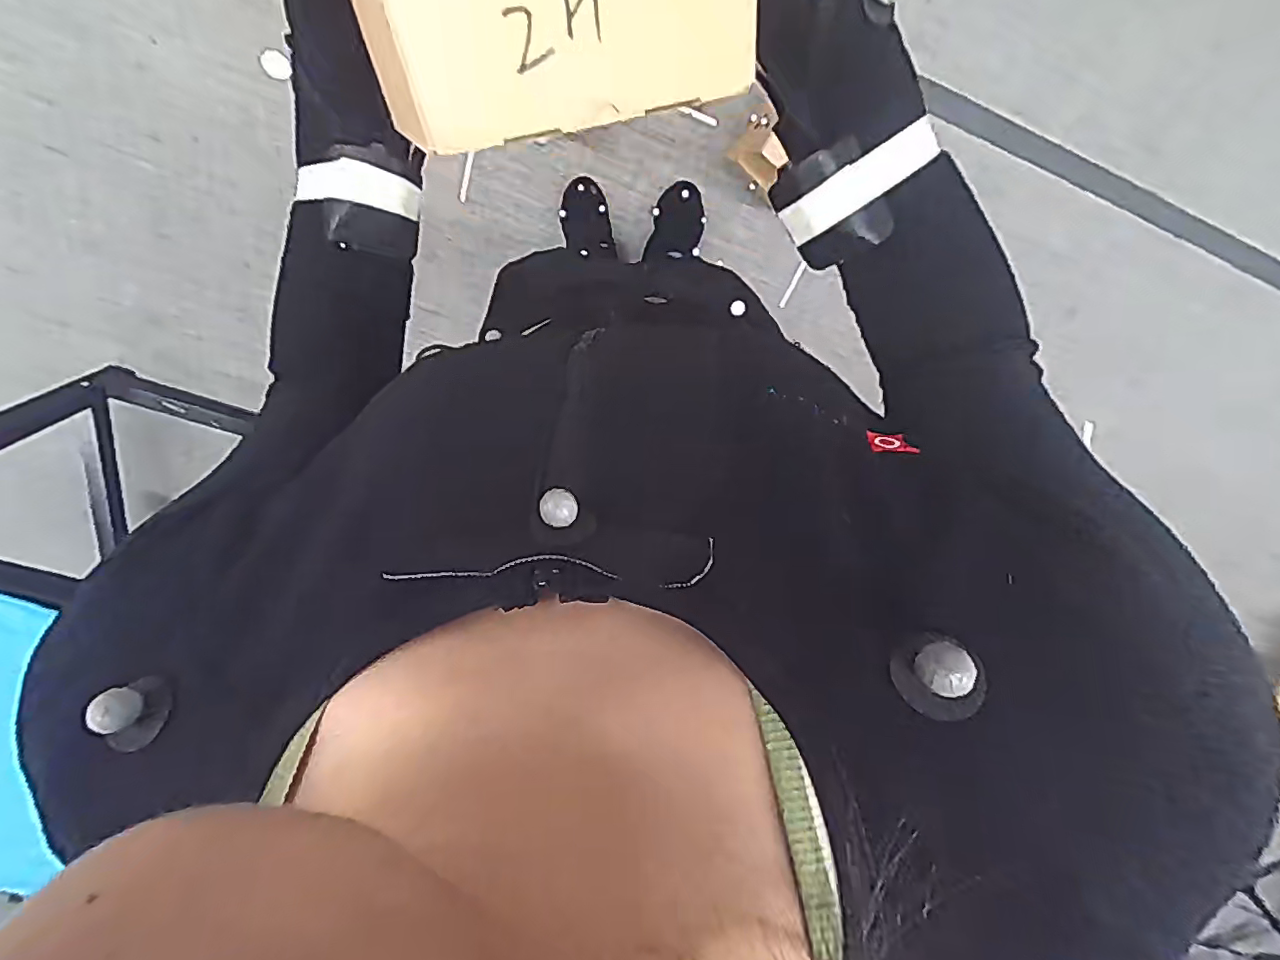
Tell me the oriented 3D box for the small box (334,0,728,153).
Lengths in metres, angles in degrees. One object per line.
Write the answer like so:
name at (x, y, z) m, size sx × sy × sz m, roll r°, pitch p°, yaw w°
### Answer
small box at (-0.069, -0.276, 0.259) m, size 0.168 × 0.176 × 0.179 m, roll -18°, pitch 133°, yaw -16°

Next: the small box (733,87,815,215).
small box at (0.314, -0.682, 1.119) m, size 0.179 × 0.176 × 0.168 m, roll 32°, pitch 117°, yaw -20°

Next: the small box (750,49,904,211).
small box at (0.320, -0.615, 0.965) m, size 0.179 × 0.176 × 0.168 m, roll 30°, pitch 119°, yaw -19°
